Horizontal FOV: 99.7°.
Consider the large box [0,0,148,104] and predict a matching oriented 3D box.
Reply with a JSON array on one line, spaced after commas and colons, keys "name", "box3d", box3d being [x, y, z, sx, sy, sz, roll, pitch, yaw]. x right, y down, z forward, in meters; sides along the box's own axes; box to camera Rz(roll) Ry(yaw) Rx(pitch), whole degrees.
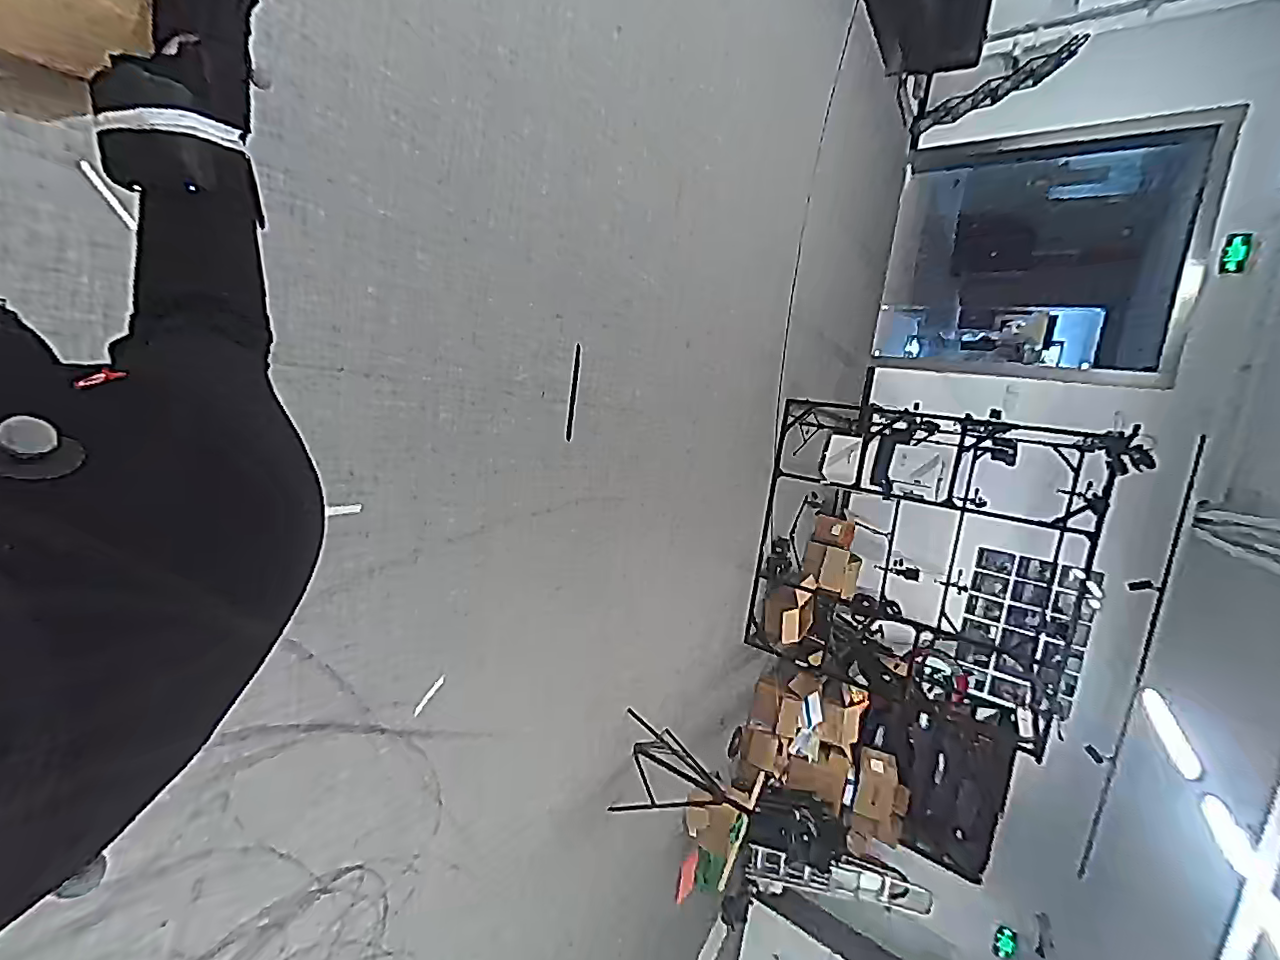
[{"name": "large box", "box3d": [-0.547, -0.436, 0.249, 0.408, 0.320, 0.320, -11, 118, -55]}]
